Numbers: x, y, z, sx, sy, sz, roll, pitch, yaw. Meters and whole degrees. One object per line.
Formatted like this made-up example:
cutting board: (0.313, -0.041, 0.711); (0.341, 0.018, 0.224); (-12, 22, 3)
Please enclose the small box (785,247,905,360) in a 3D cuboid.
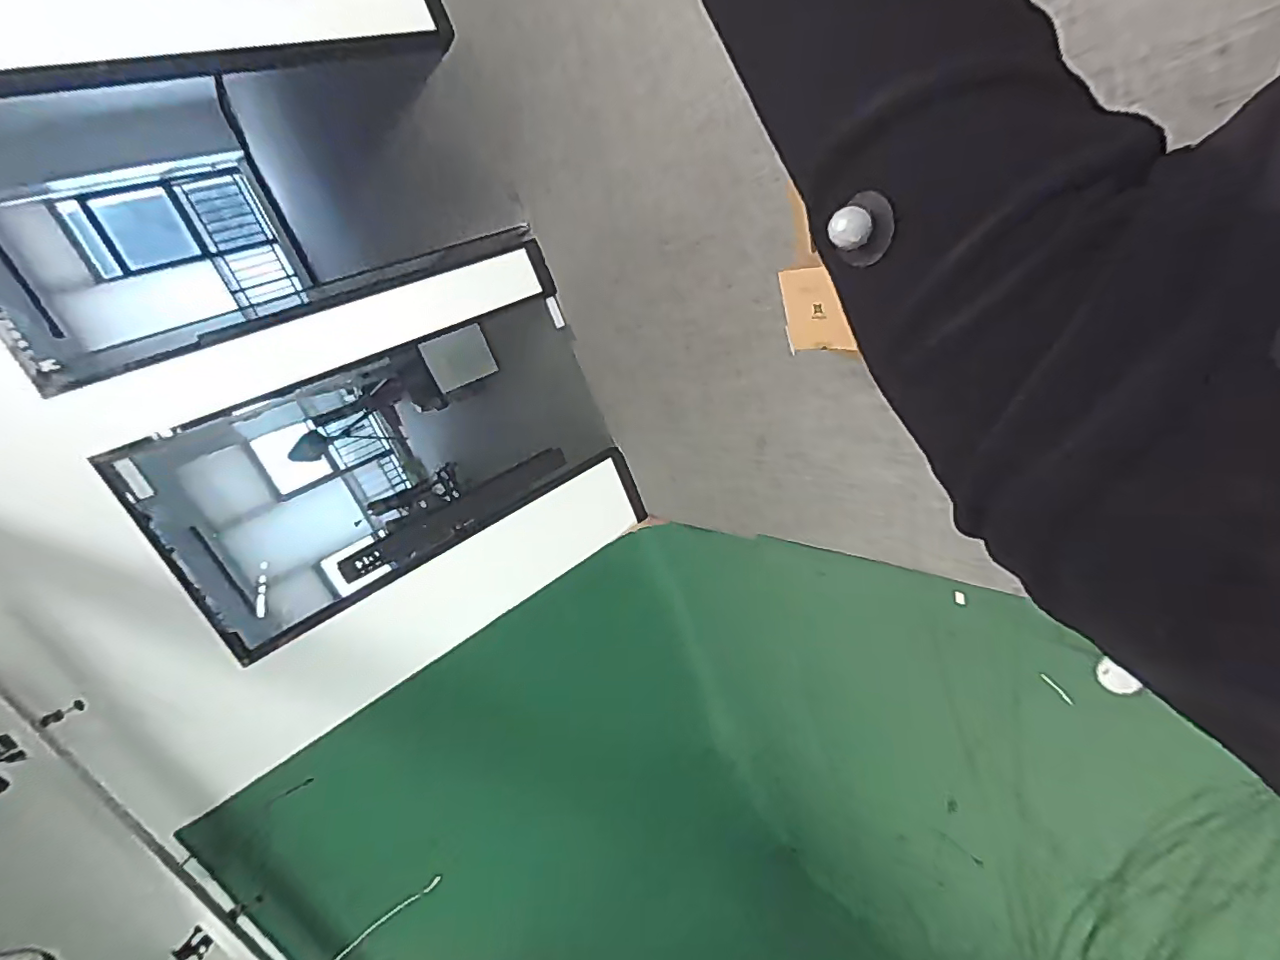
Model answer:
small box: (0.440, -0.371, 1.148); (0.168, 0.176, 0.179); (15, 132, 51)
